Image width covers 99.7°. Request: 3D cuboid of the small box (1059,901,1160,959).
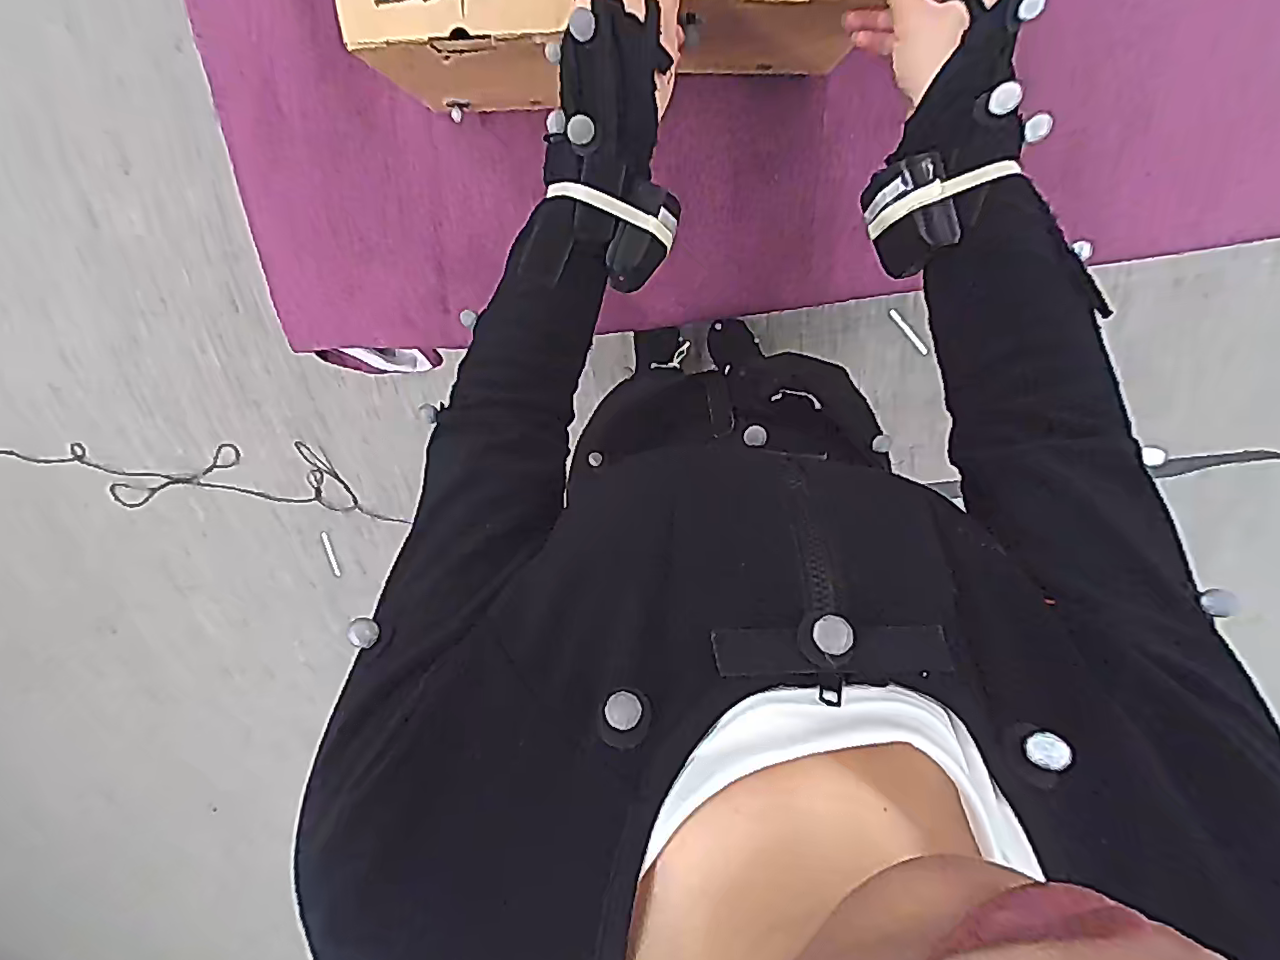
[{"bbox_3d":[1.367,1.379,1.579,0.168,0.176,0.179,-10,108,6],"label":"small box"}]
